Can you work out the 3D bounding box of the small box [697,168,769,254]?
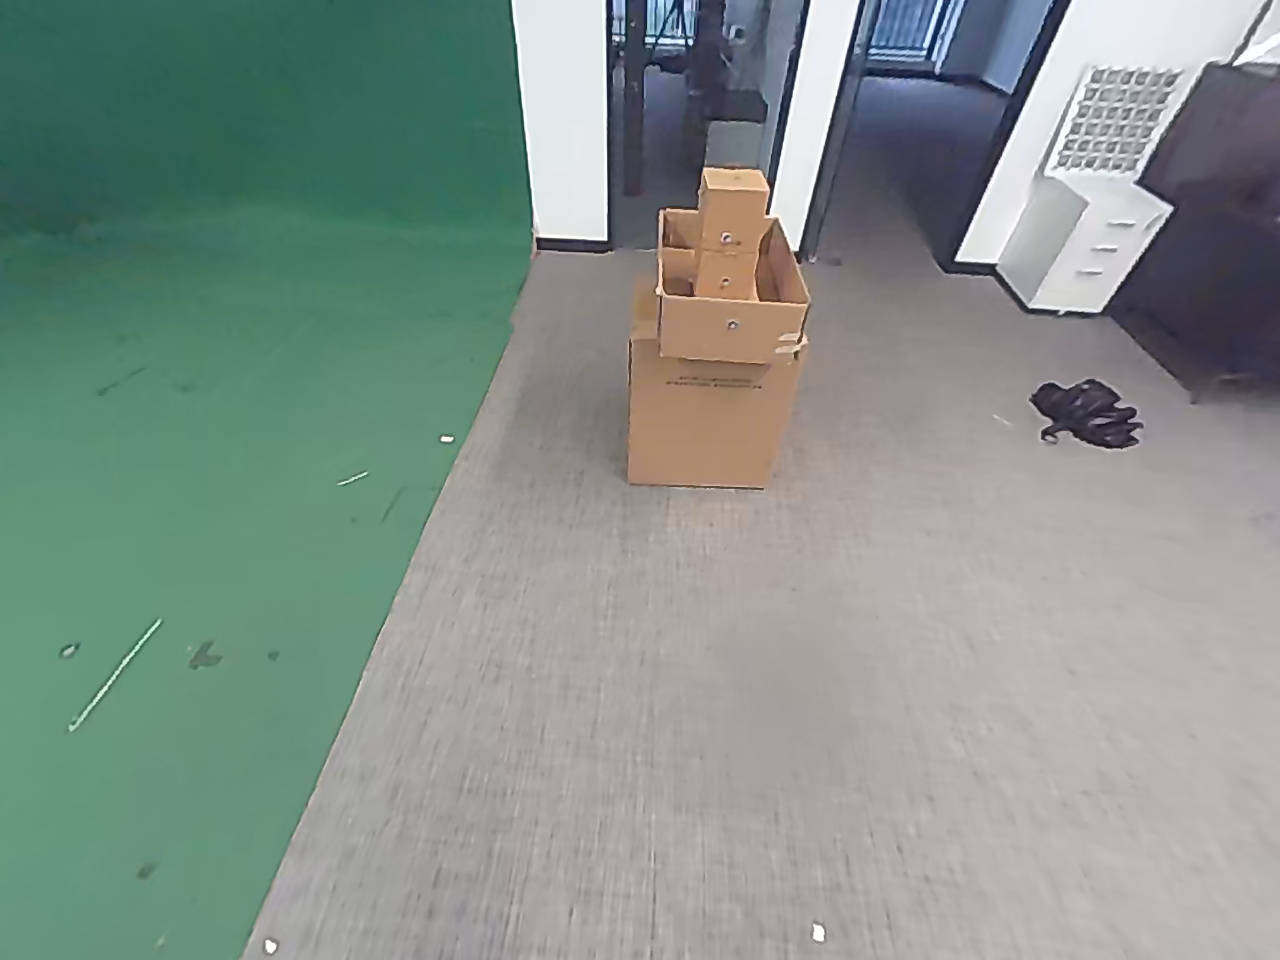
[{"bbox_3d":[0.254,-0.758,1.524,0.168,0.176,0.179,1,46,-2],"label":"small box"}]
